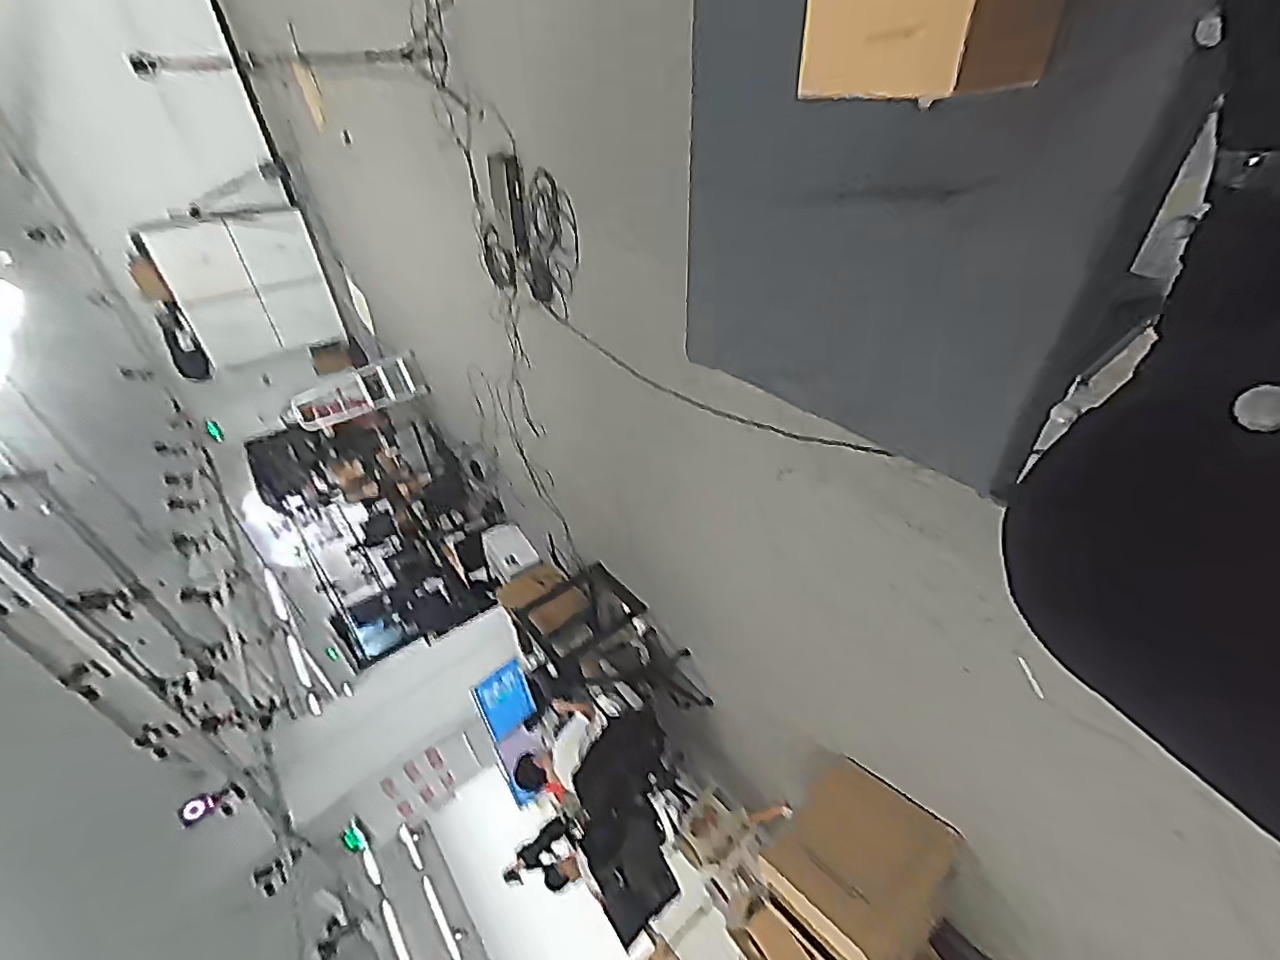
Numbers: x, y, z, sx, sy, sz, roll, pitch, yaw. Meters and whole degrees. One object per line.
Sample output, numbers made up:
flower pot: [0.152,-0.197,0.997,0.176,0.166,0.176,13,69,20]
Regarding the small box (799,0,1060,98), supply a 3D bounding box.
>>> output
small box: [0.274,-0.466,0.498,0.168,0.176,0.179,37,145,41]
